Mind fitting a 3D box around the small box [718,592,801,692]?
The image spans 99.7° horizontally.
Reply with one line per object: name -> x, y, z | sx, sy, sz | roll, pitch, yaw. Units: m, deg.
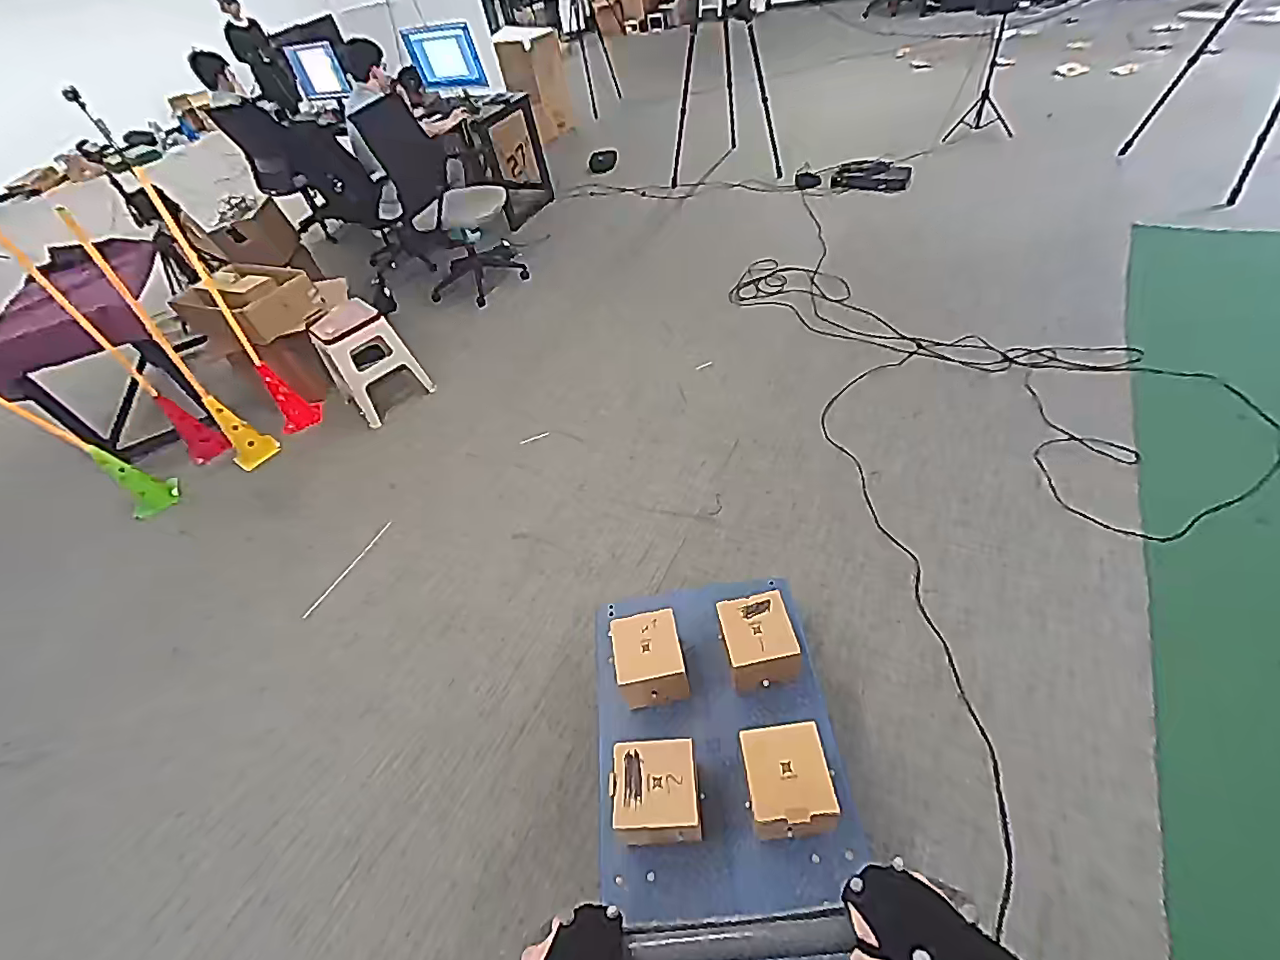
small box -> 0.299, 0.415, 1.380 | 0.168, 0.176, 0.179 | -12, 48, 1

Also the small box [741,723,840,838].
small box -> 0.313, 0.650, 1.166 | 0.168, 0.176, 0.179 | -9, 48, 3

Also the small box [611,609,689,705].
small box -> 0.027, 0.462, 1.392 | 0.168, 0.176, 0.179 | -11, 47, 0
